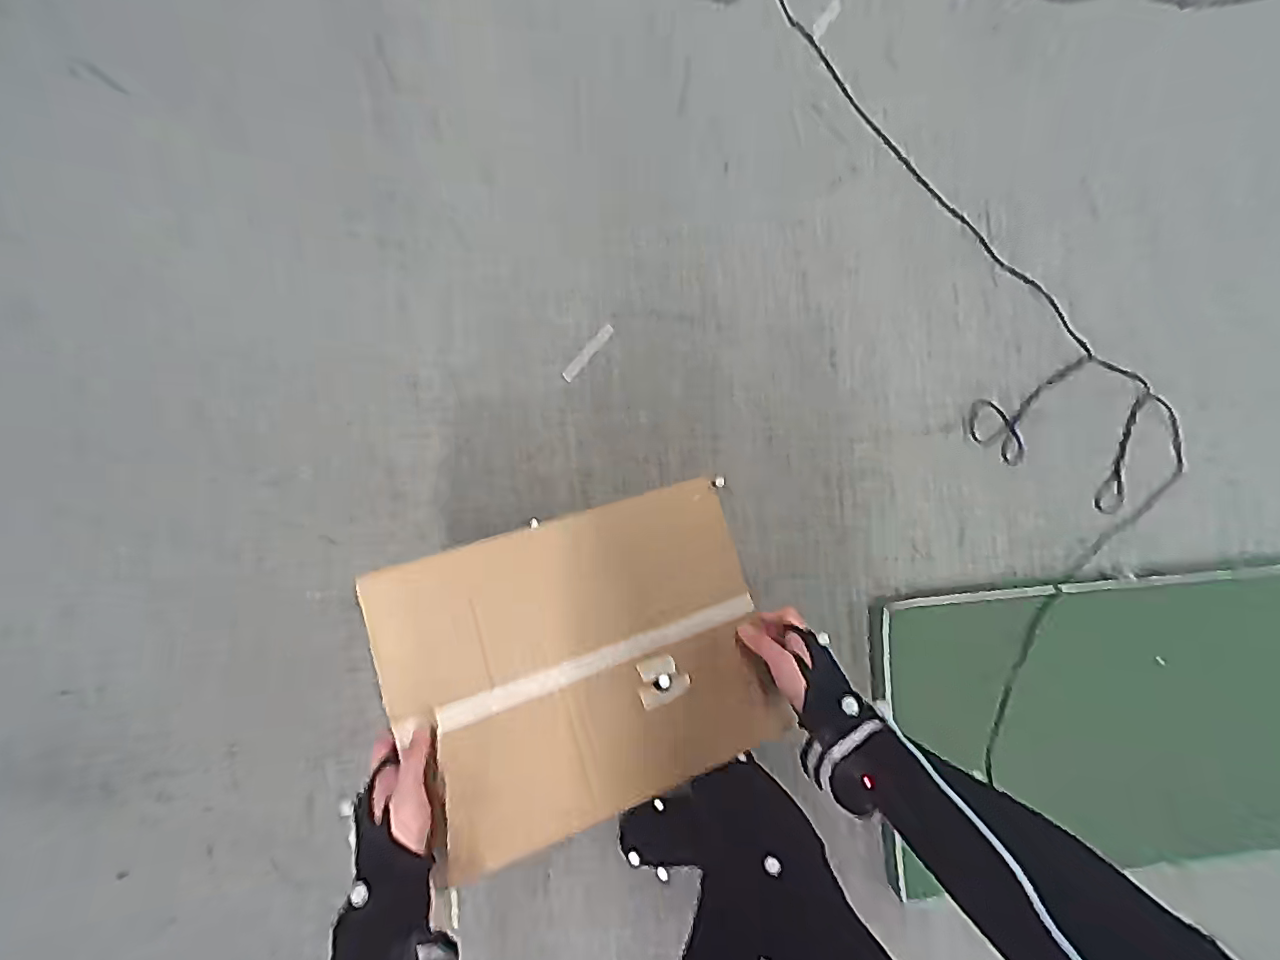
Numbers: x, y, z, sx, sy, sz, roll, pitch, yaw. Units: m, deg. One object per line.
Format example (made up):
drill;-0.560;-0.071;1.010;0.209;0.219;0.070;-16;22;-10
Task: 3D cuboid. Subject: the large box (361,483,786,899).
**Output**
large box;-0.094;0.231;0.727;0.408;0.320;0.320;-17;85;-18
